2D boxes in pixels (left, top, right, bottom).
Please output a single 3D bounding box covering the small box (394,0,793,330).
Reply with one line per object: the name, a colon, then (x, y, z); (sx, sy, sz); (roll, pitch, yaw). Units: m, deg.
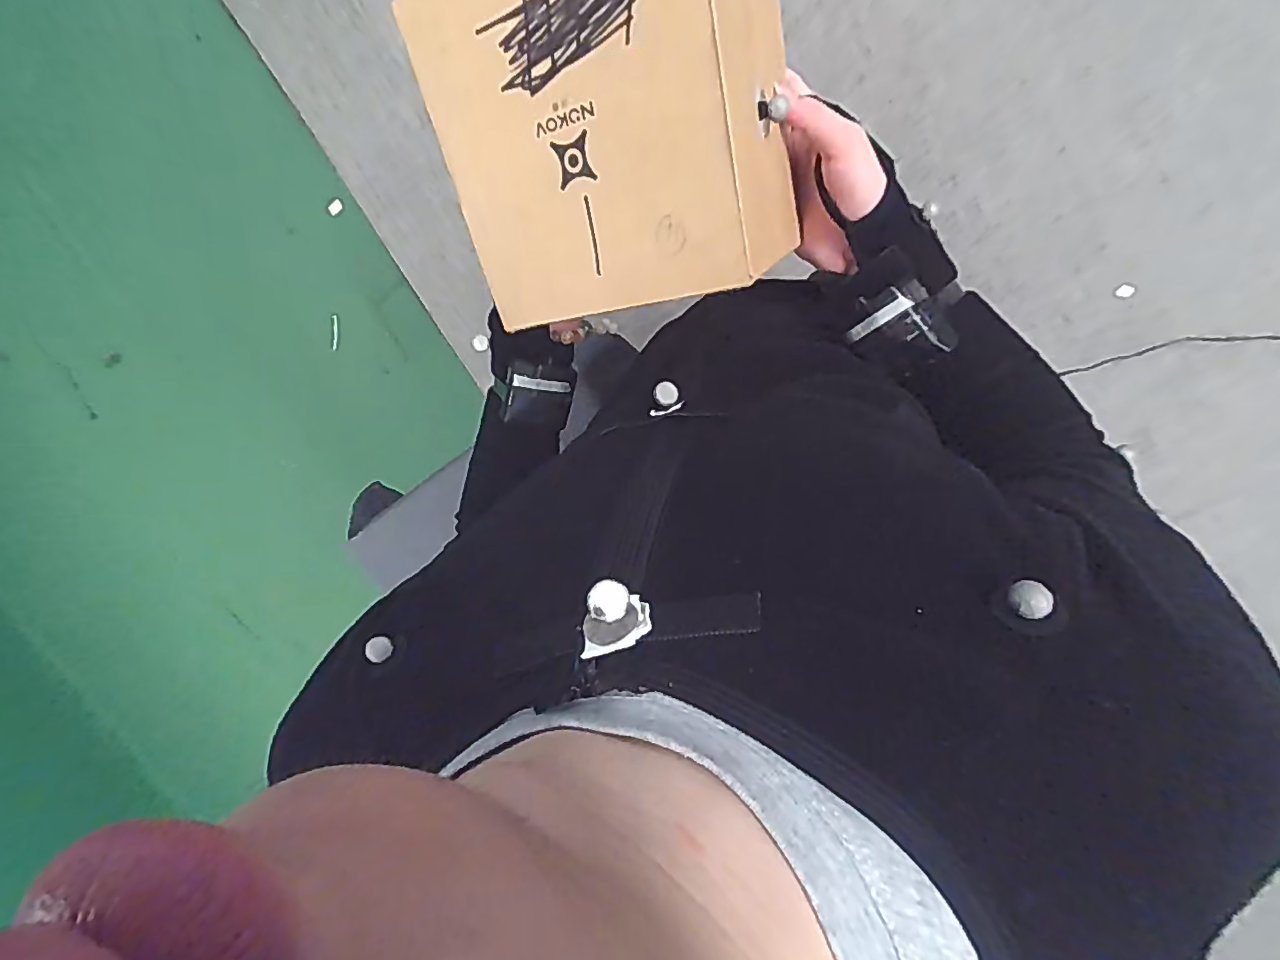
small box: (-0.006, -0.210, 0.342); (0.168, 0.176, 0.179); (0, 119, 28)
